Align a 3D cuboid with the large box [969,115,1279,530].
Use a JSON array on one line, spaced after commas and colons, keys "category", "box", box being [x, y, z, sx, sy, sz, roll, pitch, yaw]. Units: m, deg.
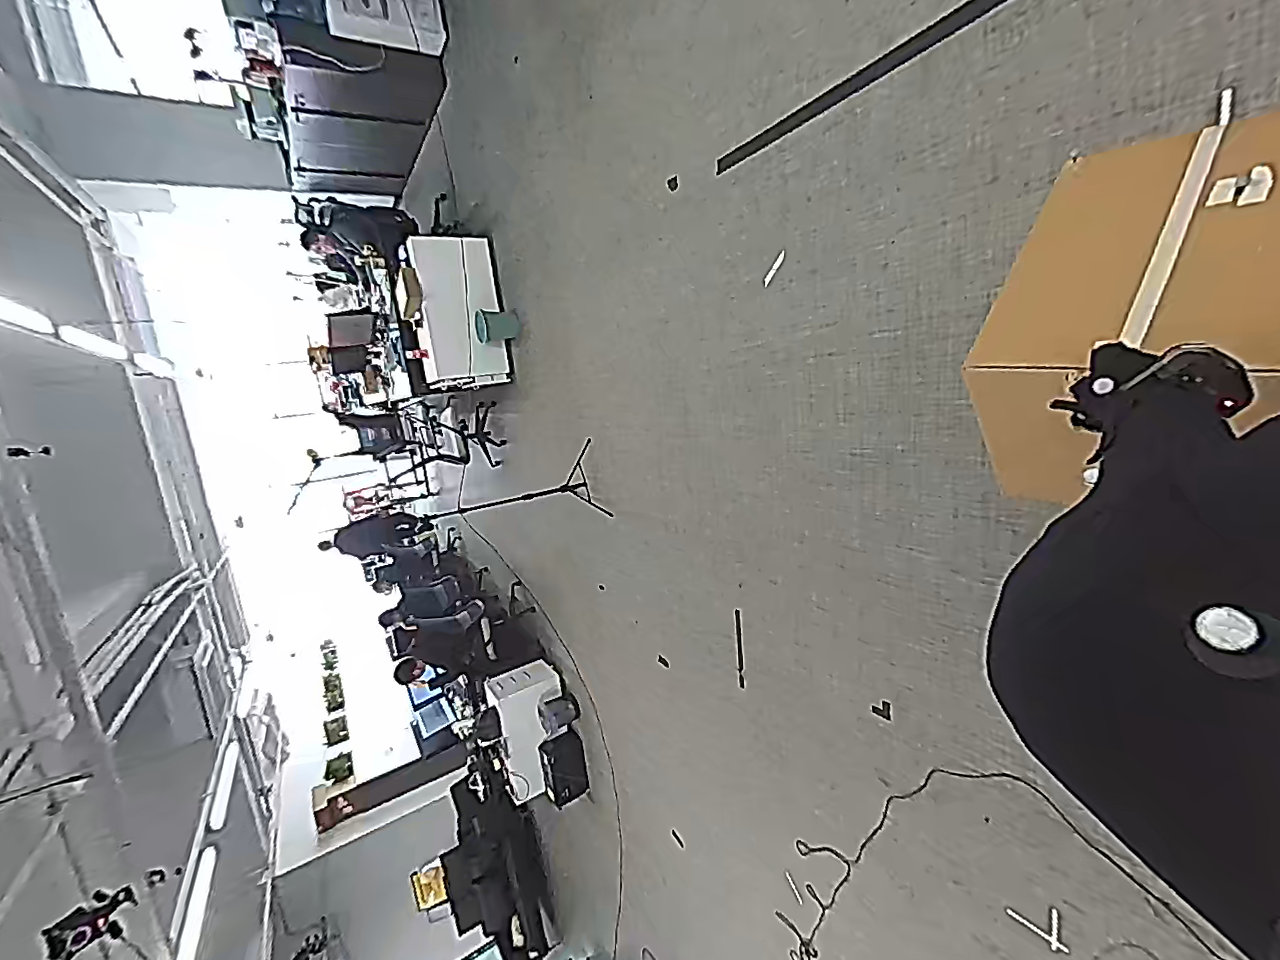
[{"category": "large box", "box": [0.713, -0.198, 0.729, 0.320, 0.408, 0.320, 16, 157, 50]}]
